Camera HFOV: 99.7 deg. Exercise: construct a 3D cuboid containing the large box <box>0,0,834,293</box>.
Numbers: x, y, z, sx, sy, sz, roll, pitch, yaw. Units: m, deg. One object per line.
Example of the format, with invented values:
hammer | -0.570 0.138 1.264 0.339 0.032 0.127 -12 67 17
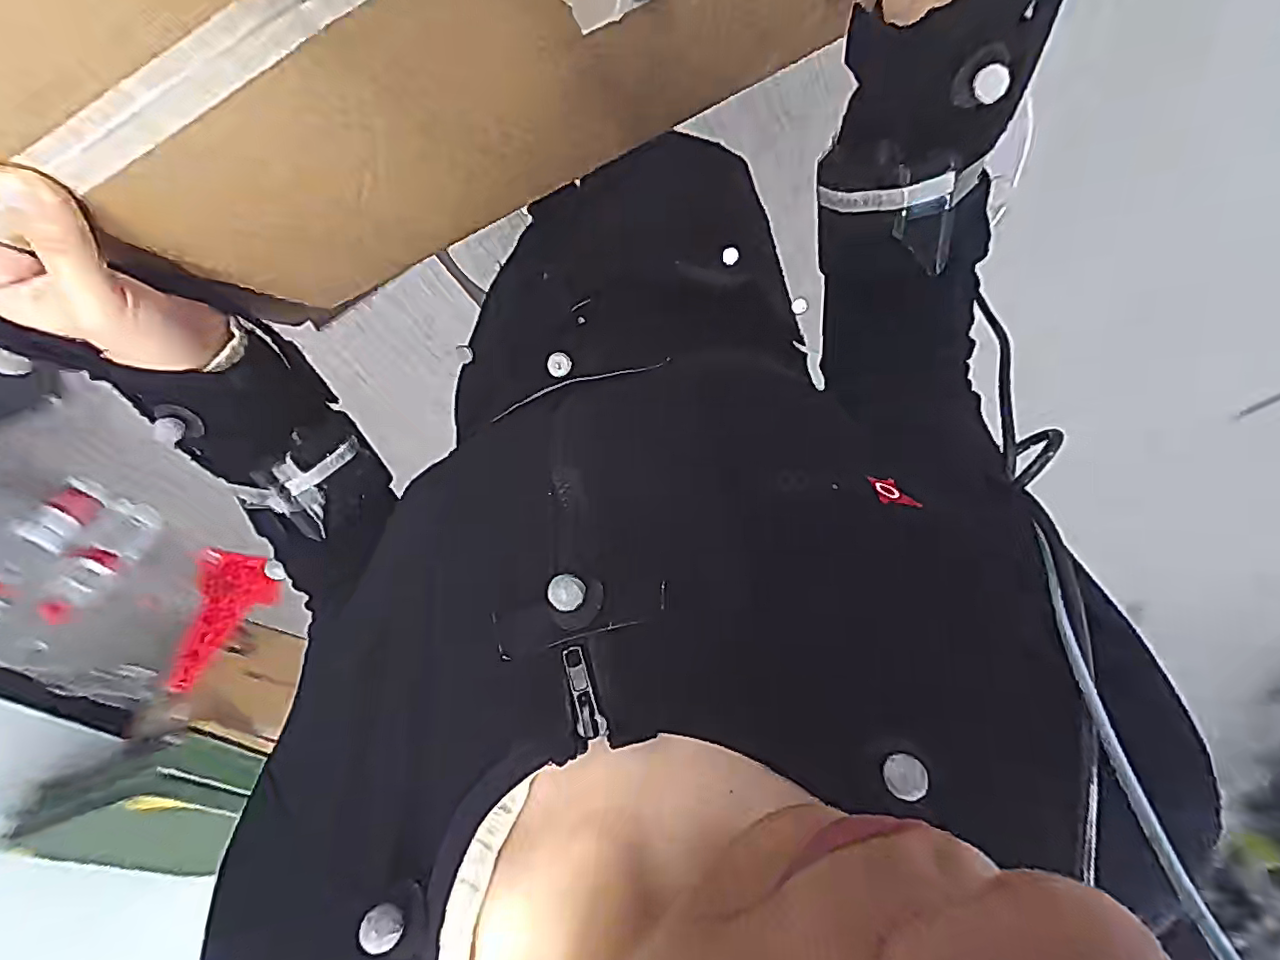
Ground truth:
large box | -0.114 -0.322 0.153 0.408 0.320 0.320 -21 87 12
